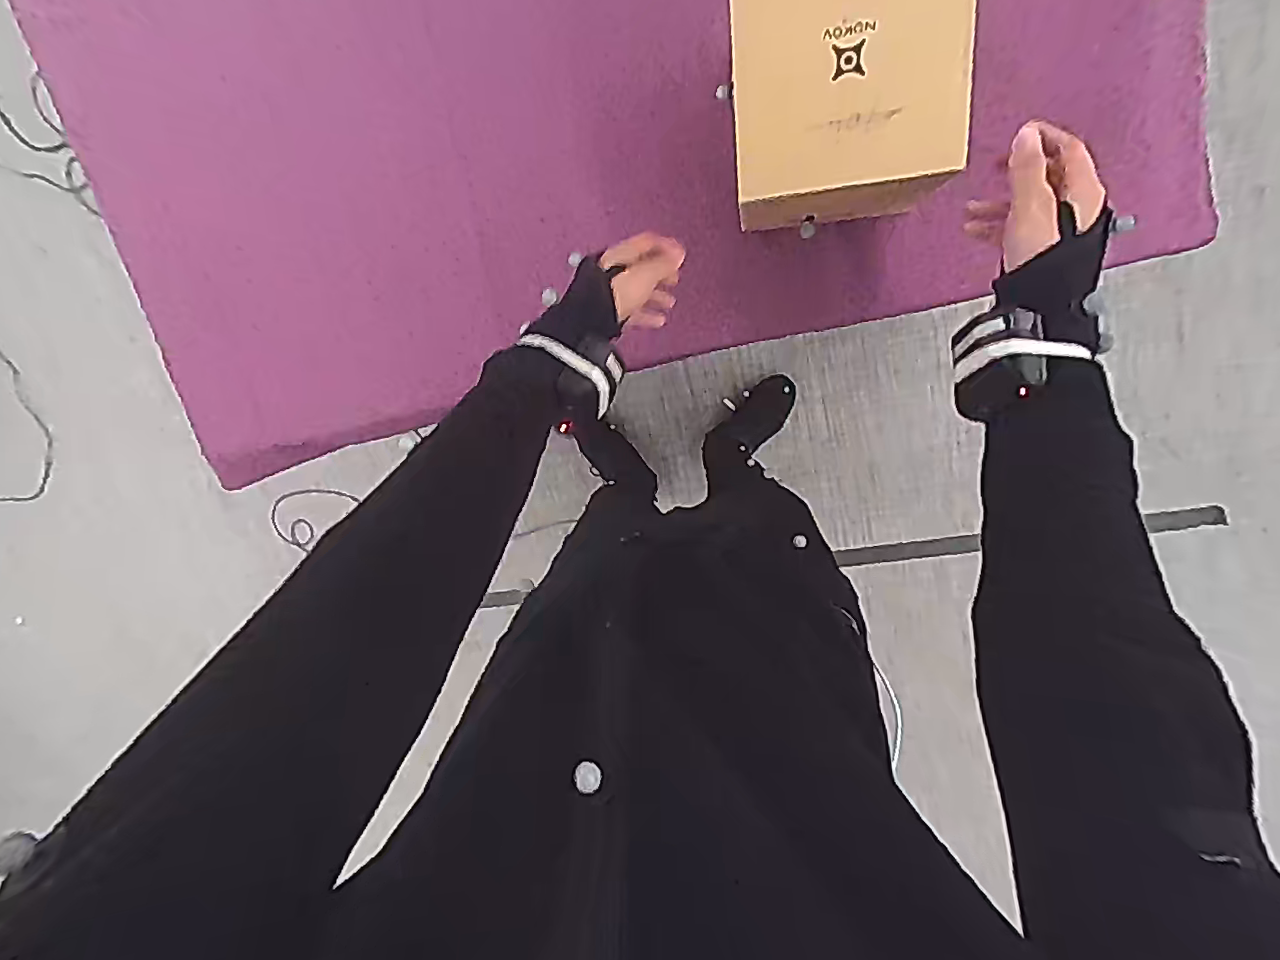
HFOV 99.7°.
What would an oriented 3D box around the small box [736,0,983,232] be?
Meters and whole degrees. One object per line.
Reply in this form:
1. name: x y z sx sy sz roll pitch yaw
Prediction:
1. small box: 0.166 -0.325 0.457 0.168 0.176 0.179 -1 105 13
